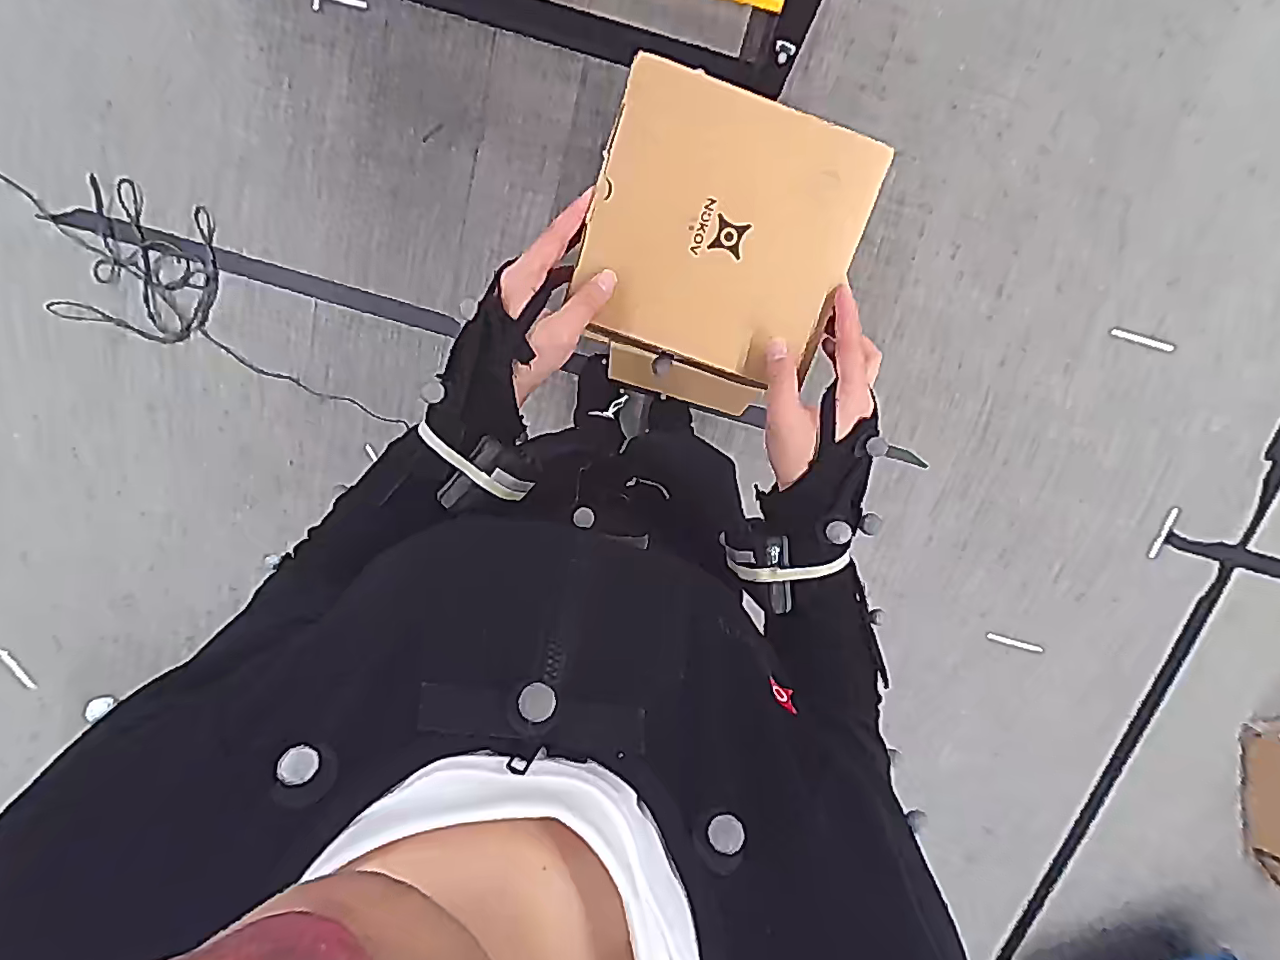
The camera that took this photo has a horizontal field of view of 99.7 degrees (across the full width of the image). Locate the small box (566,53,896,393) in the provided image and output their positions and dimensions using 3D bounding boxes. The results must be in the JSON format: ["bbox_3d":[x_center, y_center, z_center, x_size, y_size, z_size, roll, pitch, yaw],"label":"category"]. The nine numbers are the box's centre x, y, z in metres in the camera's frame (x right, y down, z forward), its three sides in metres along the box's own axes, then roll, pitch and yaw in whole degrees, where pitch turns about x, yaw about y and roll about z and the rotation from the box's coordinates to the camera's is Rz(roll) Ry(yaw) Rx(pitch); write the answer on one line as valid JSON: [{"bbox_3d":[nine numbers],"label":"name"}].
[{"bbox_3d":[0.057,-0.180,0.431,0.179,0.176,0.168,18,102,-3],"label":"small box"}]
